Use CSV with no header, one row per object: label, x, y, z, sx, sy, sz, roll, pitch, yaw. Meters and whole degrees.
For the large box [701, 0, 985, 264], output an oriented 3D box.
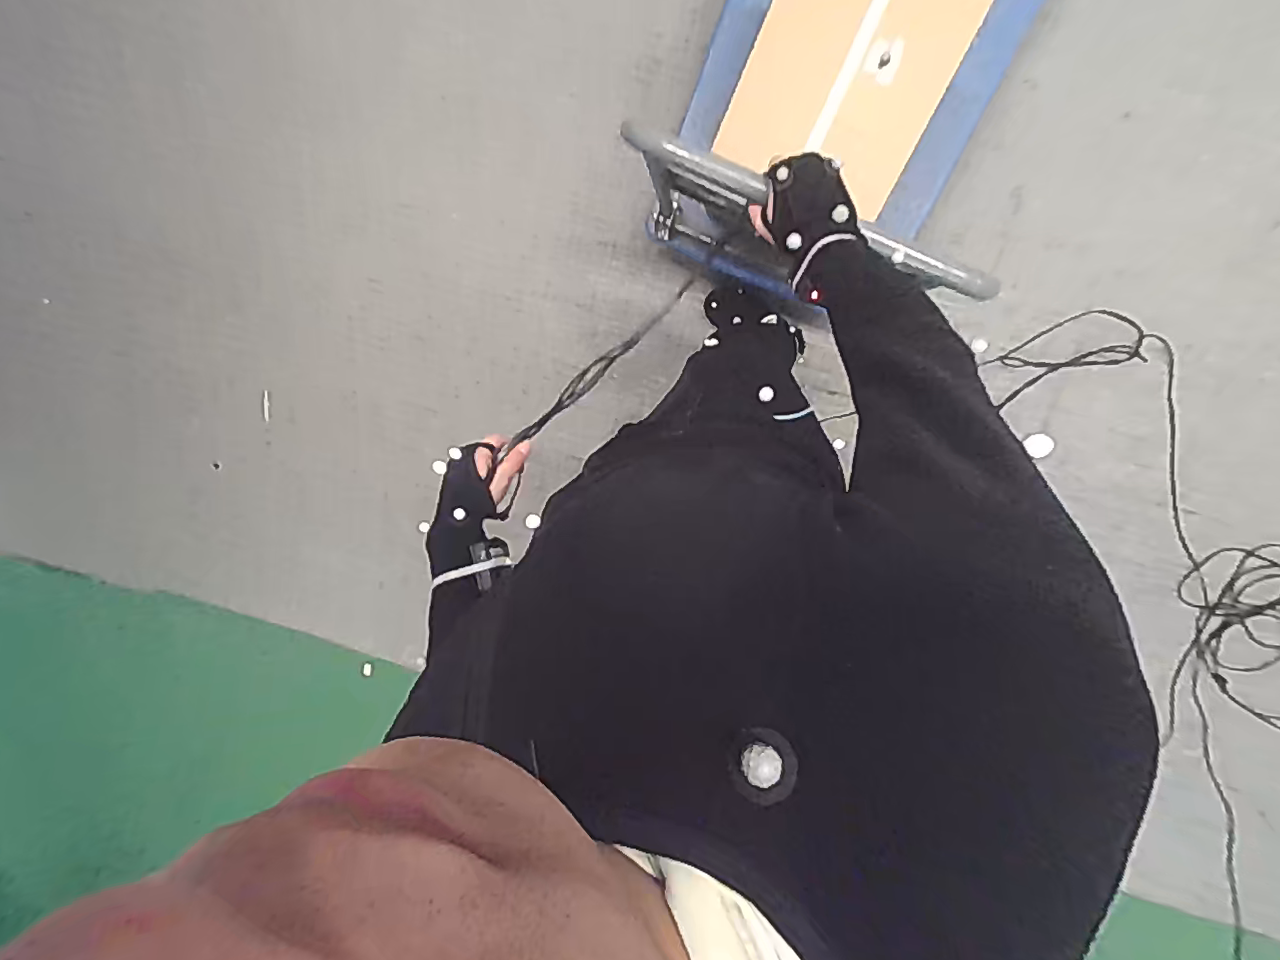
large box,0.344,-0.683,1.039,0.320,0.320,0.408,25,109,0
